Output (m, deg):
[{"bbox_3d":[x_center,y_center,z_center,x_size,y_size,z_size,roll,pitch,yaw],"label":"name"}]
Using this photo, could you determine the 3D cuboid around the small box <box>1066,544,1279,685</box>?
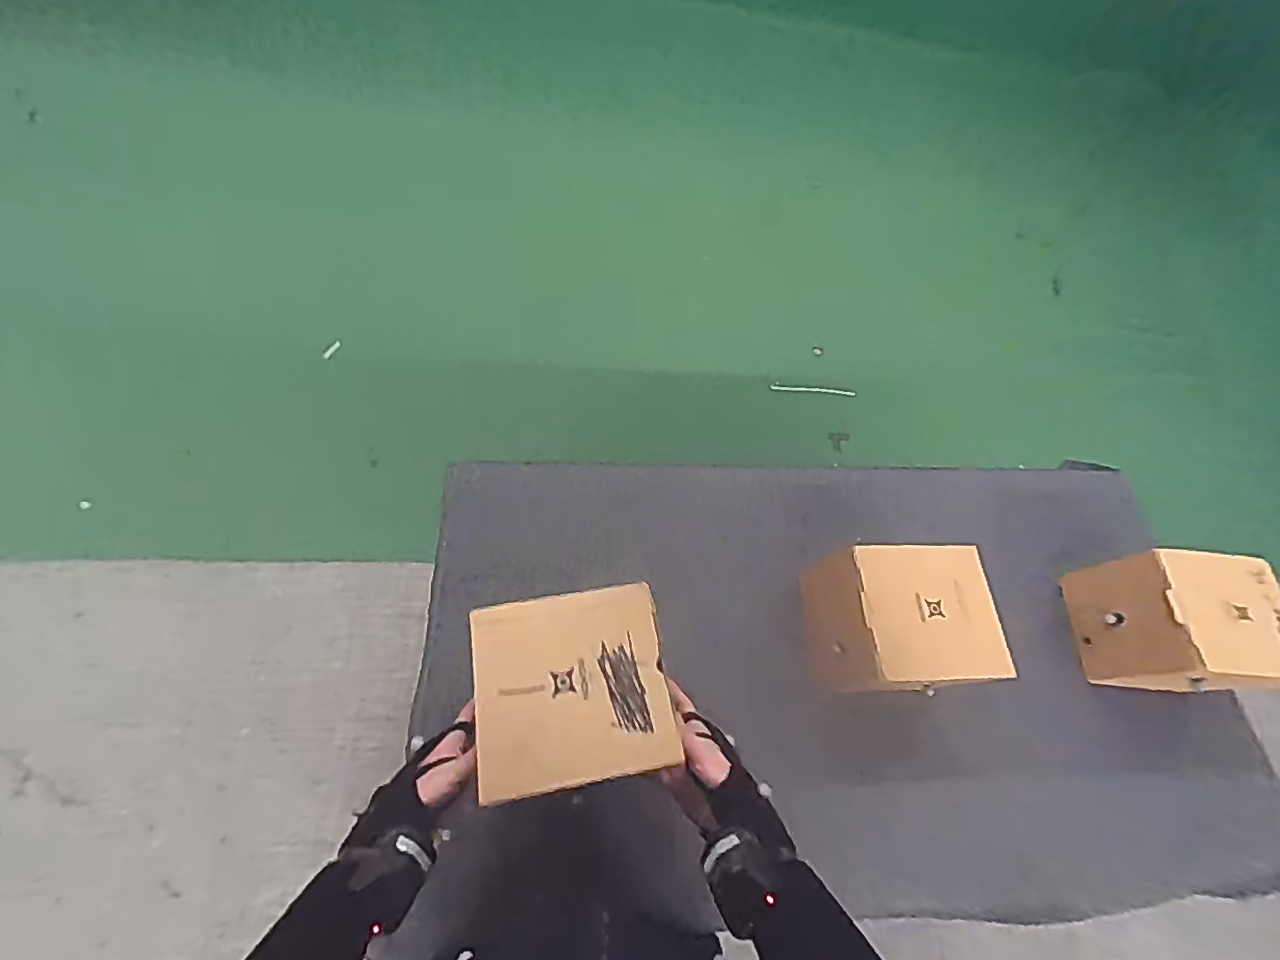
[{"bbox_3d":[0.776,0.205,0.795,0.179,0.176,0.168,6,65,-5],"label":"small box"}]

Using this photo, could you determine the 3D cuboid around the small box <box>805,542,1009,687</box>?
[{"bbox_3d":[0.343,0.189,0.739,0.179,0.176,0.168,1,66,-10],"label":"small box"}]
